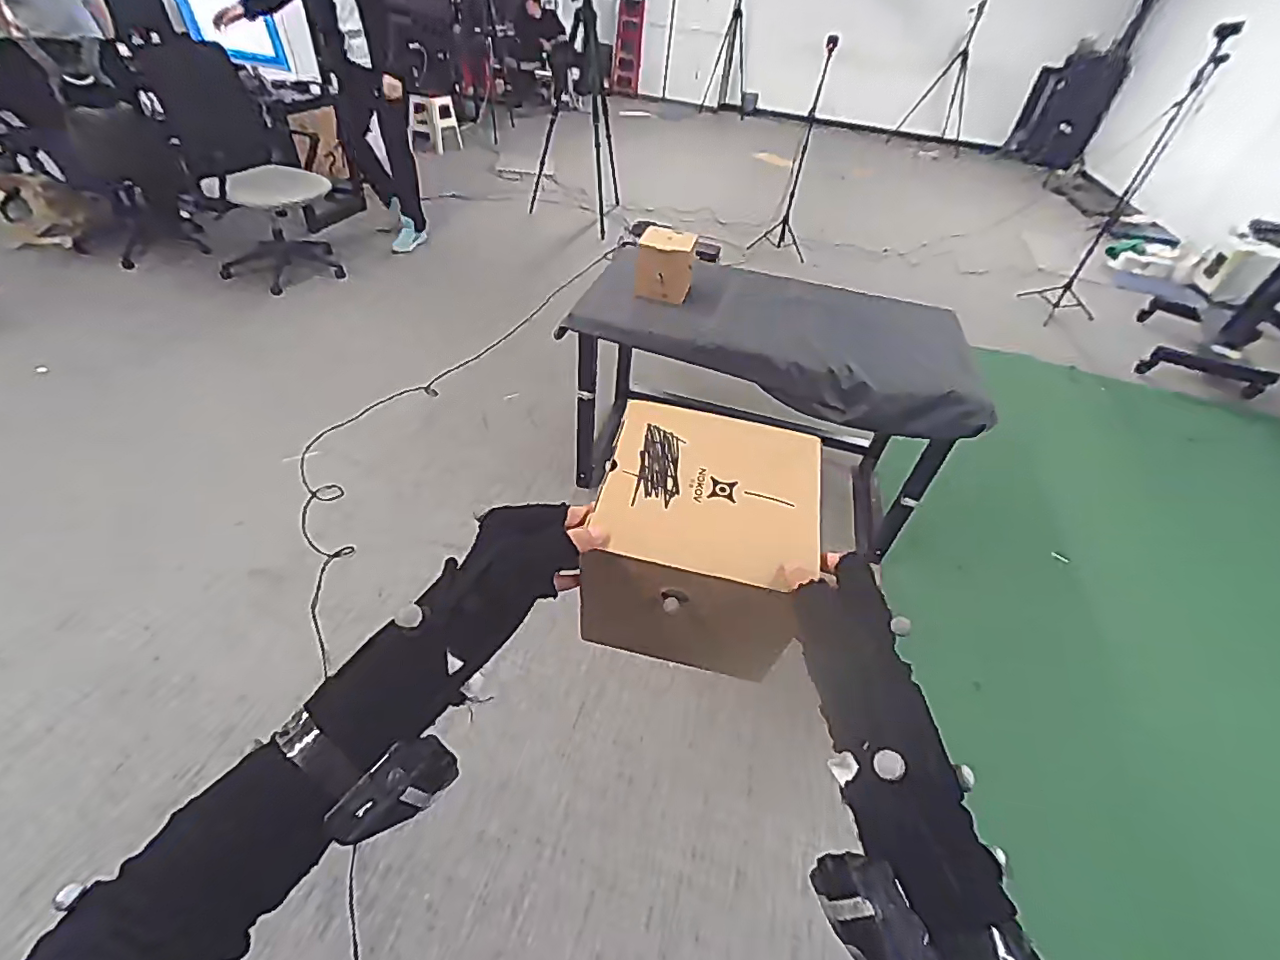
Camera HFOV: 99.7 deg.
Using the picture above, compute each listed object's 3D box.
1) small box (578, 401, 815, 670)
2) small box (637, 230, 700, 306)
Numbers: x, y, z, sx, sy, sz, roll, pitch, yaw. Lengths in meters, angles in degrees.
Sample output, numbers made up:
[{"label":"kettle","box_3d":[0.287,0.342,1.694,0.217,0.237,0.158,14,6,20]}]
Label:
[{"label":"small box","box_3d":[0.050,0.056,0.502,0.179,0.176,0.168,12,50,5]},{"label":"small box","box_3d":[0.089,-0.686,1.755,0.168,0.176,0.179,13,44,7]}]
